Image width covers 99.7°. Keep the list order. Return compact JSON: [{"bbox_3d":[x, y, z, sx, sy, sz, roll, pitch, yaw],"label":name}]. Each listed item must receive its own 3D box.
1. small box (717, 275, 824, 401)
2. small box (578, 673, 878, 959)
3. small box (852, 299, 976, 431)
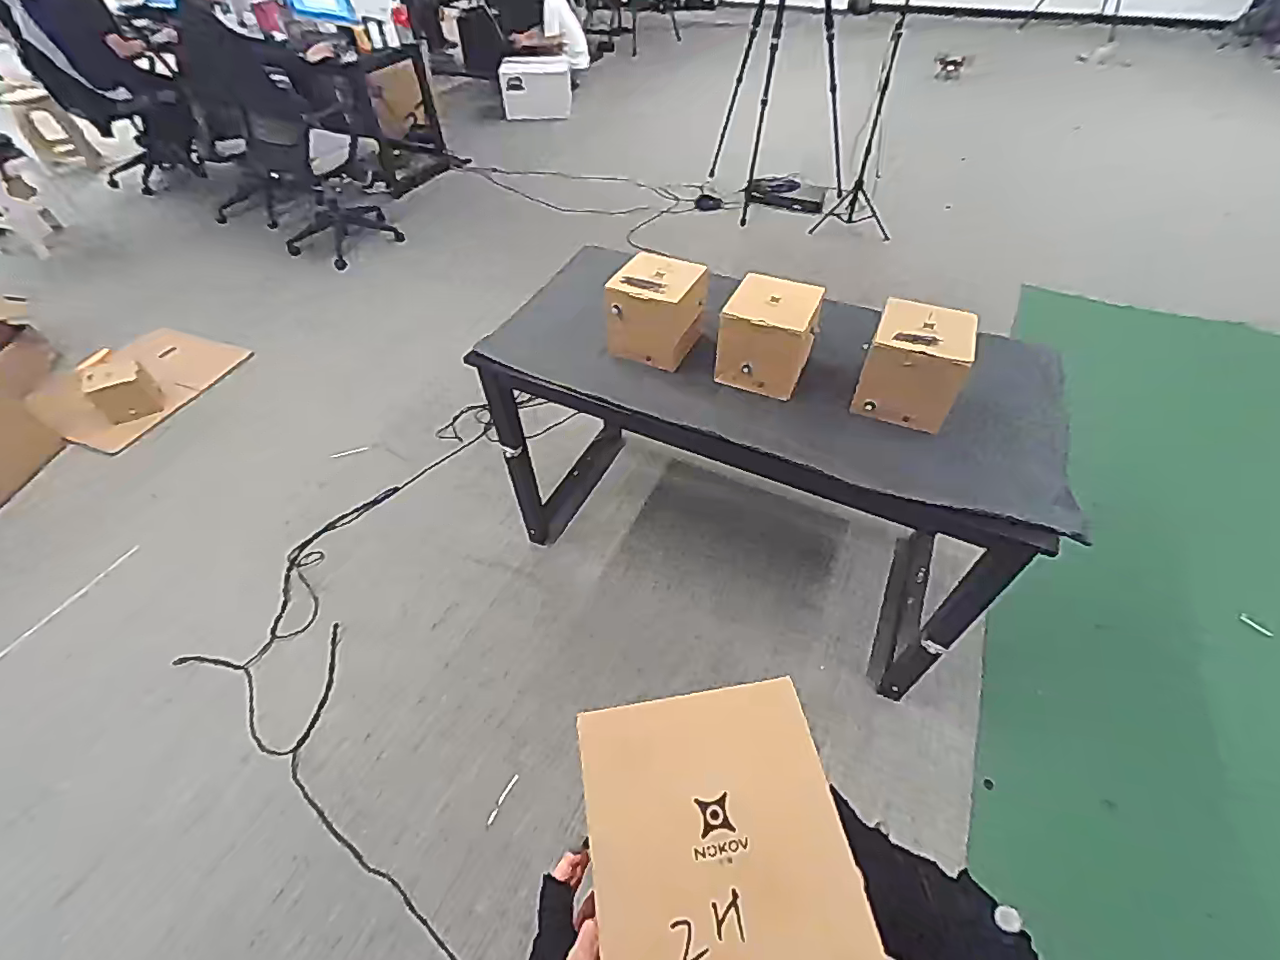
[{"bbox_3d":[0.267,-0.298,1.136,0.168,0.176,0.179,19,52,17],"label":"small box"},{"bbox_3d":[0.043,0.272,0.415,0.168,0.176,0.179,-7,53,-6],"label":"small box"},{"bbox_3d":[0.528,-0.223,1.058,0.168,0.176,0.179,19,51,17],"label":"small box"}]
